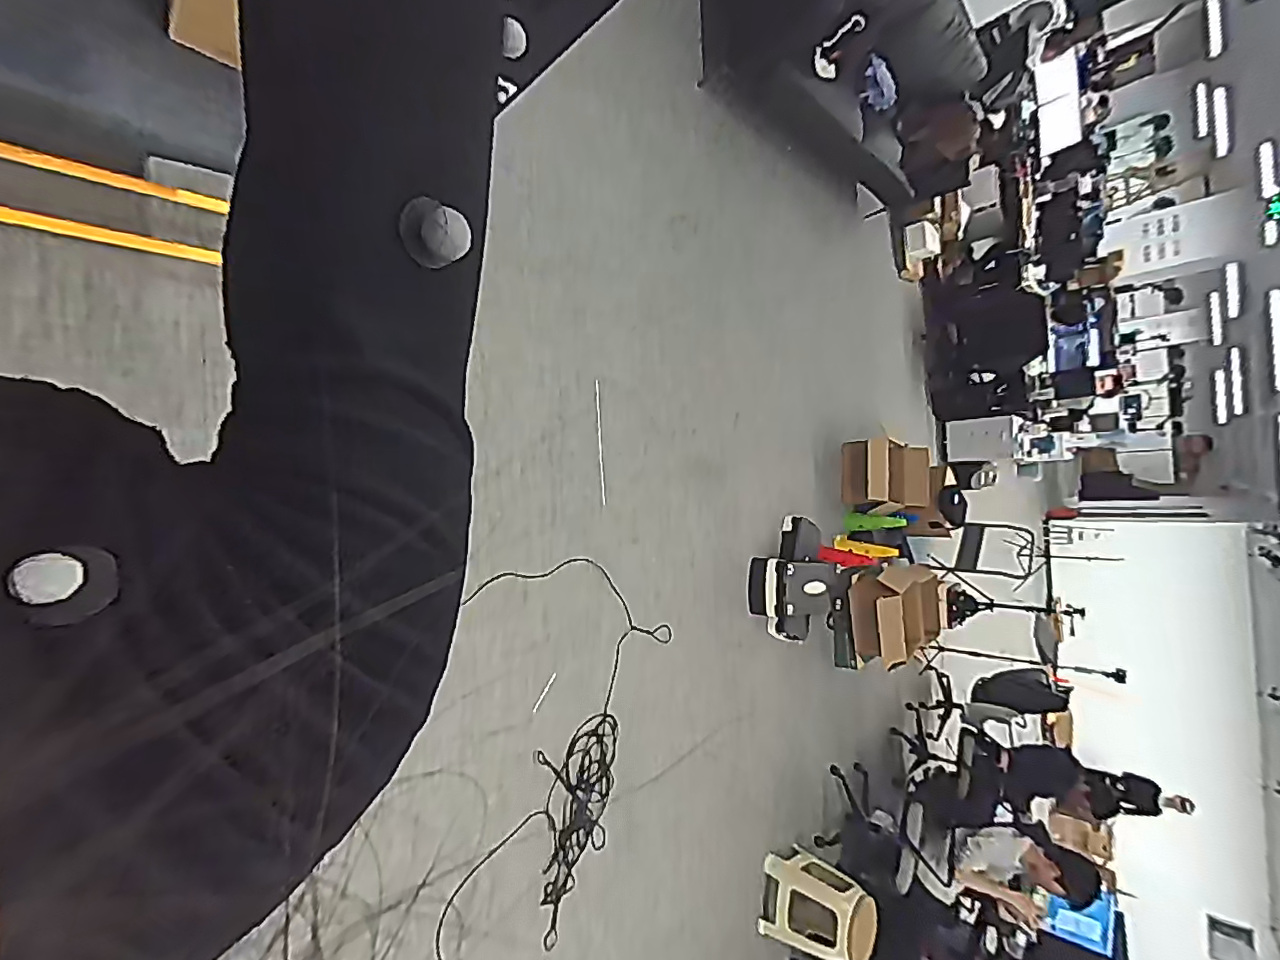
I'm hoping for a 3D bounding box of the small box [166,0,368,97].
[{"bbox_3d":[-0.430,-0.600,0.626,0.168,0.176,0.179,2,85,-47],"label":"small box"}]
